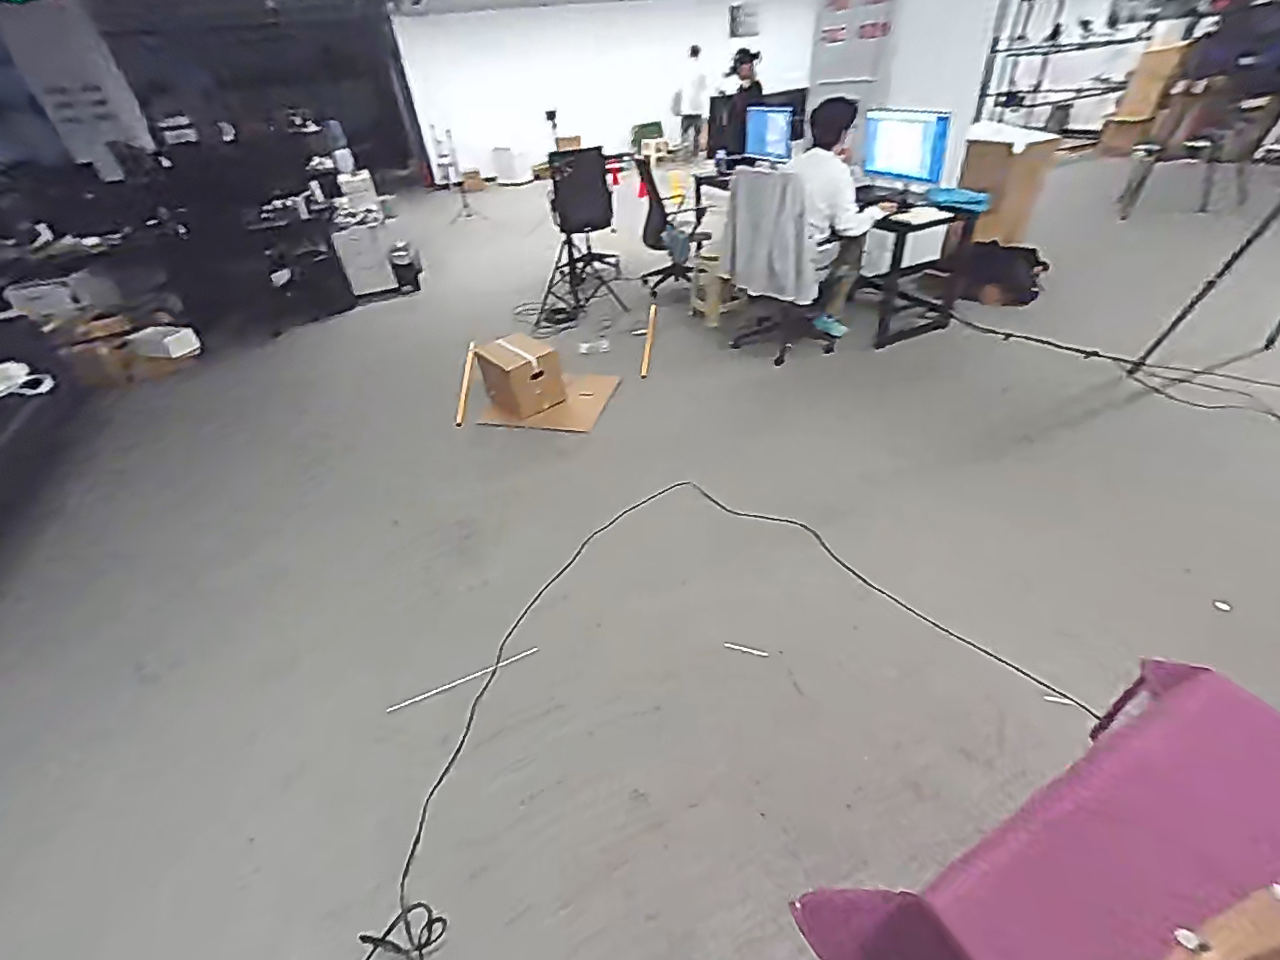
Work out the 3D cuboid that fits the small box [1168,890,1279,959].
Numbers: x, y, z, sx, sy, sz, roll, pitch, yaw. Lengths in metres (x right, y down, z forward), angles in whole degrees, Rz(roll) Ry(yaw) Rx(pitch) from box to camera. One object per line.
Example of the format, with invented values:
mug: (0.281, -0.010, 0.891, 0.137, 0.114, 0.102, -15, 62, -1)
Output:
small box: (0.577, 0.485, 0.455, 0.179, 0.176, 0.168, -18, 39, -16)
